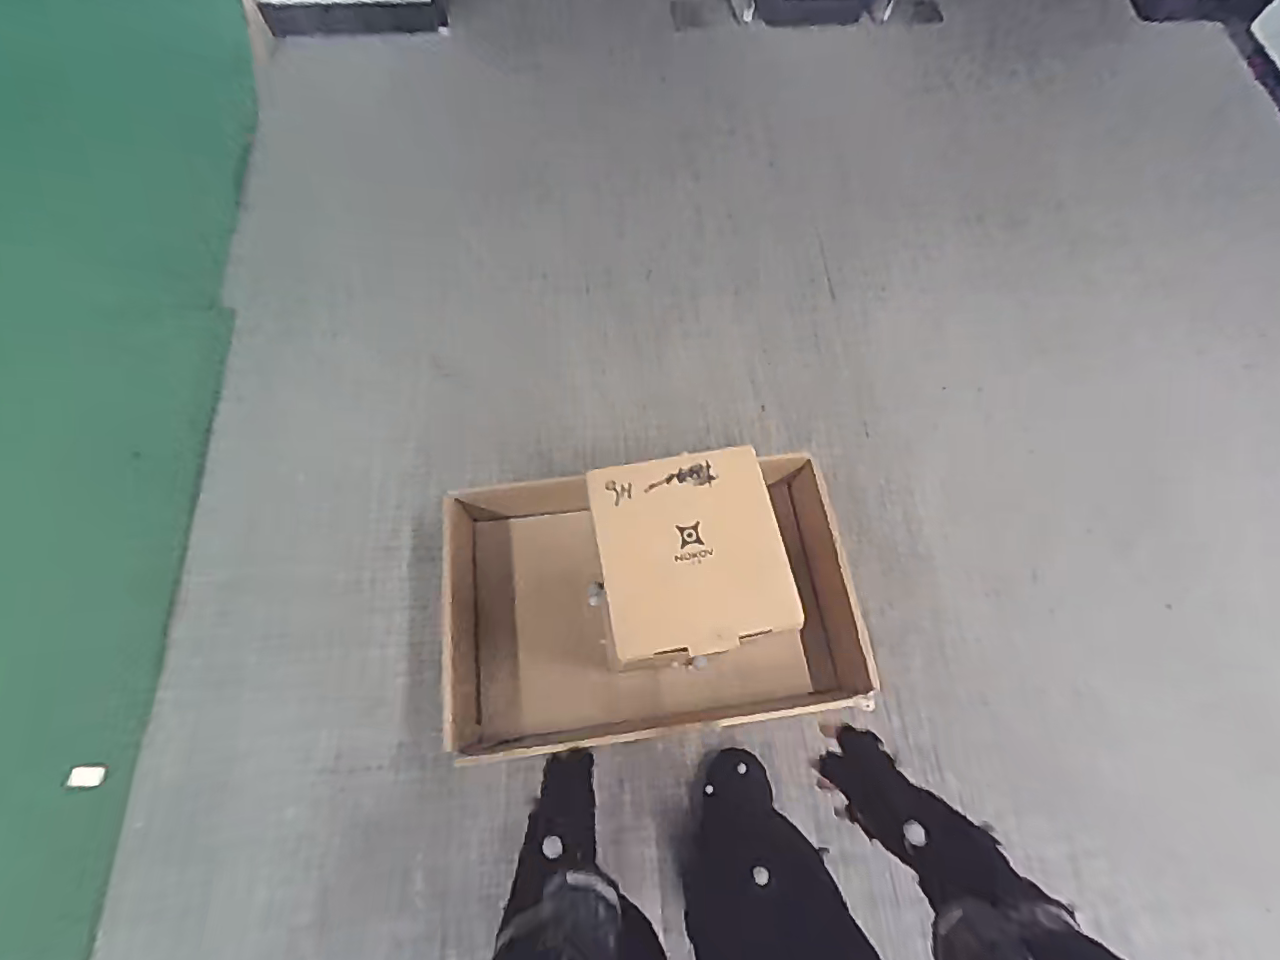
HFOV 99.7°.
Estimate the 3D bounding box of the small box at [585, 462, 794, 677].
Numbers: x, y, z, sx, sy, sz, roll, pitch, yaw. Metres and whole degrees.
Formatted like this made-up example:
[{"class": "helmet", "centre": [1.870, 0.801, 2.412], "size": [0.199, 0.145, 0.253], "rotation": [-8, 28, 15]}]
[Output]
[{"class": "small box", "centre": [0.039, 0.102, 0.567], "size": [0.168, 0.176, 0.179], "rotation": [-9, 70, -6]}]
